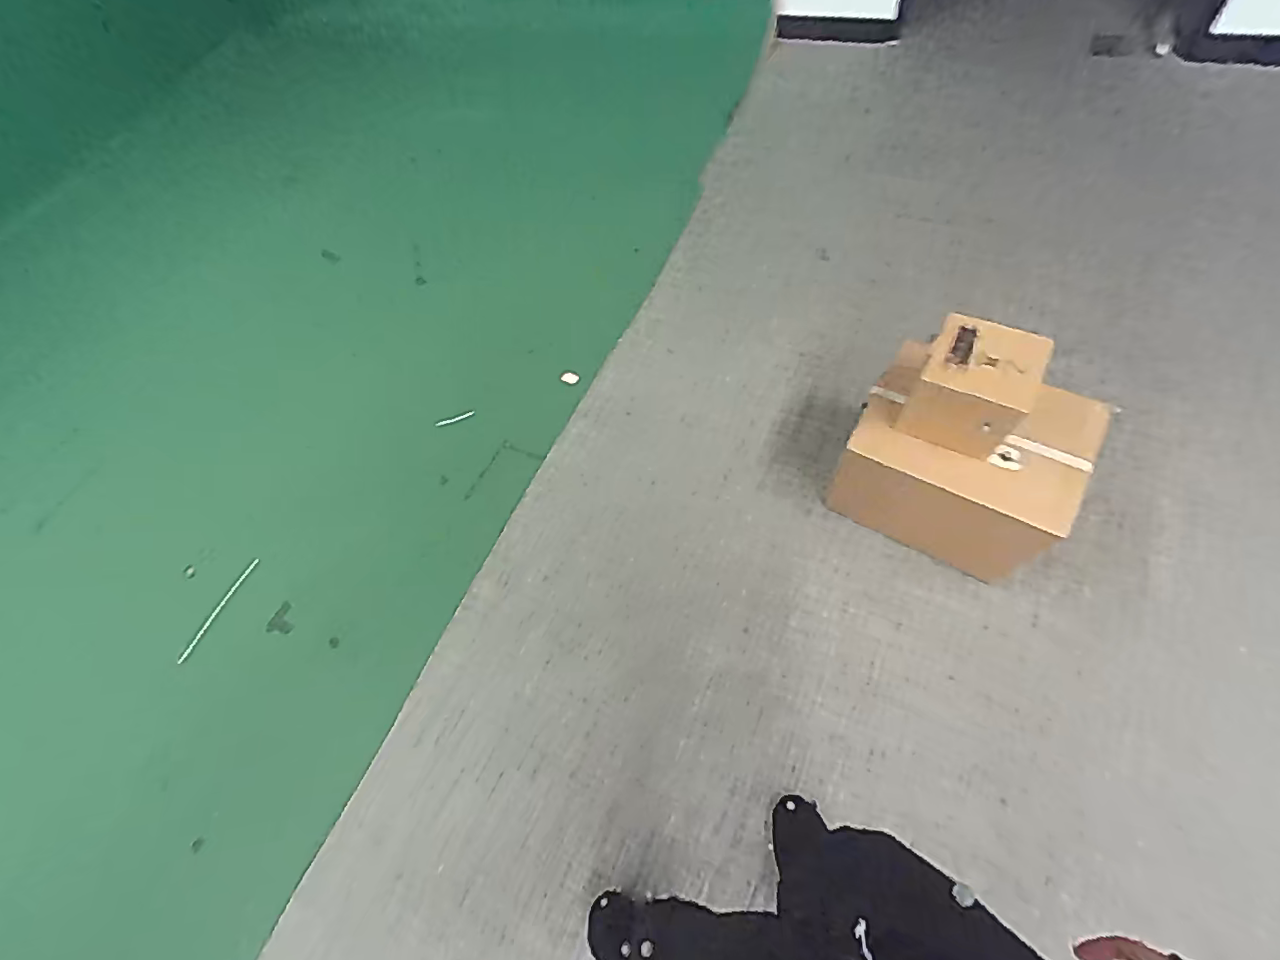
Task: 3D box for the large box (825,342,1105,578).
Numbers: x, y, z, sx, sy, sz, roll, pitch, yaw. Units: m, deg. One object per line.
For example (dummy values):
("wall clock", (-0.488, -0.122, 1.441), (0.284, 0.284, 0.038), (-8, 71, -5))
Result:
("large box", (0.678, -0.038, 1.197), (0.408, 0.320, 0.320), (26, 72, 20))
